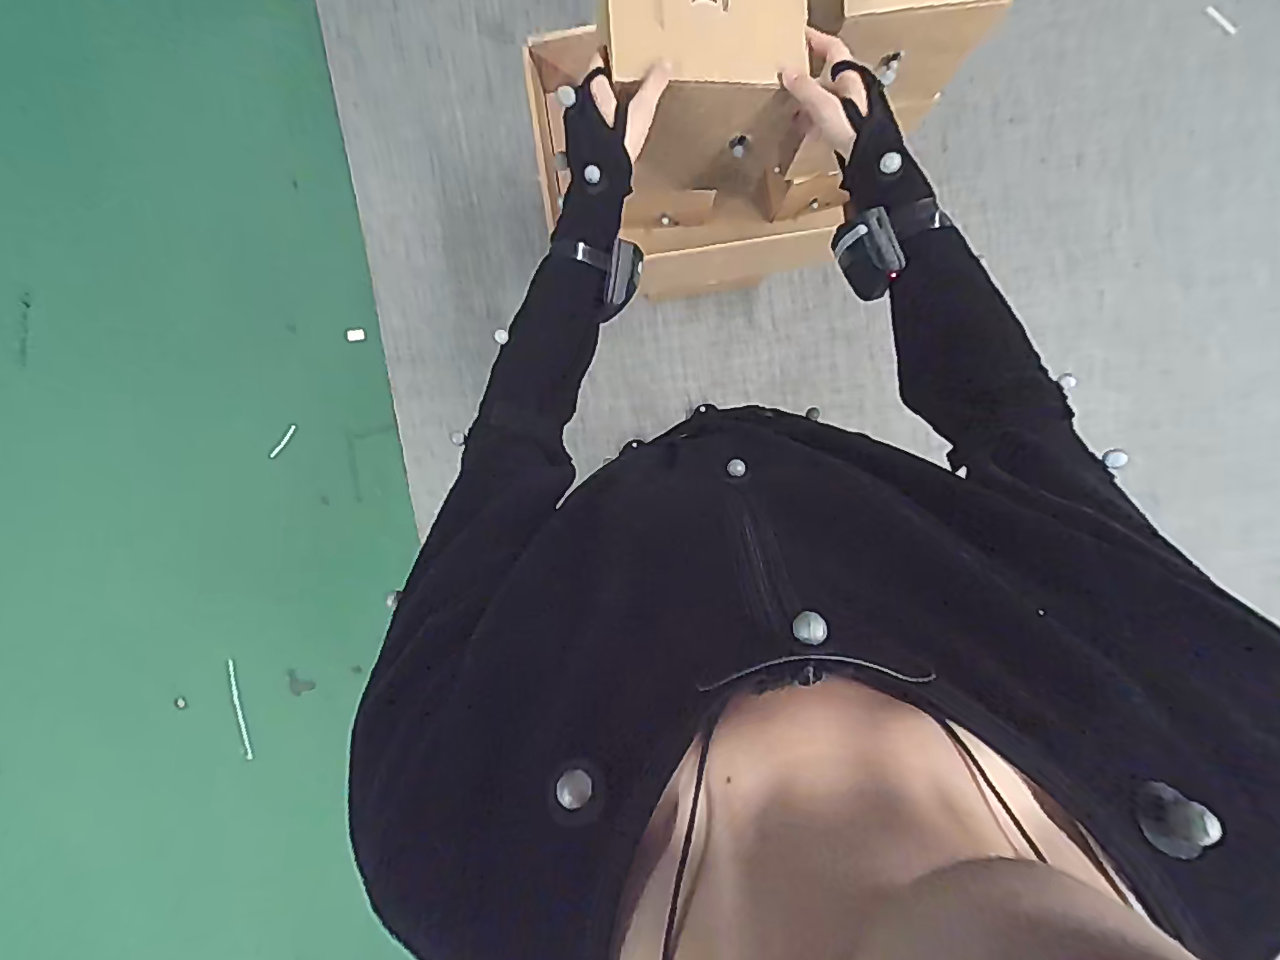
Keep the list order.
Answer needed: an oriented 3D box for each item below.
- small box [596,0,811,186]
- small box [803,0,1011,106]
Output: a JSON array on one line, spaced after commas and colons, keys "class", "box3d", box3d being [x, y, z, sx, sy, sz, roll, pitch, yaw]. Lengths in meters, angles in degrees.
[{"class": "small box", "box3d": [0.049, -0.416, 0.533, 0.179, 0.176, 0.168, -3, 89, -6]}, {"class": "small box", "box3d": [0.293, -0.572, 0.625, 0.179, 0.176, 0.168, -4, 94, 4]}]
